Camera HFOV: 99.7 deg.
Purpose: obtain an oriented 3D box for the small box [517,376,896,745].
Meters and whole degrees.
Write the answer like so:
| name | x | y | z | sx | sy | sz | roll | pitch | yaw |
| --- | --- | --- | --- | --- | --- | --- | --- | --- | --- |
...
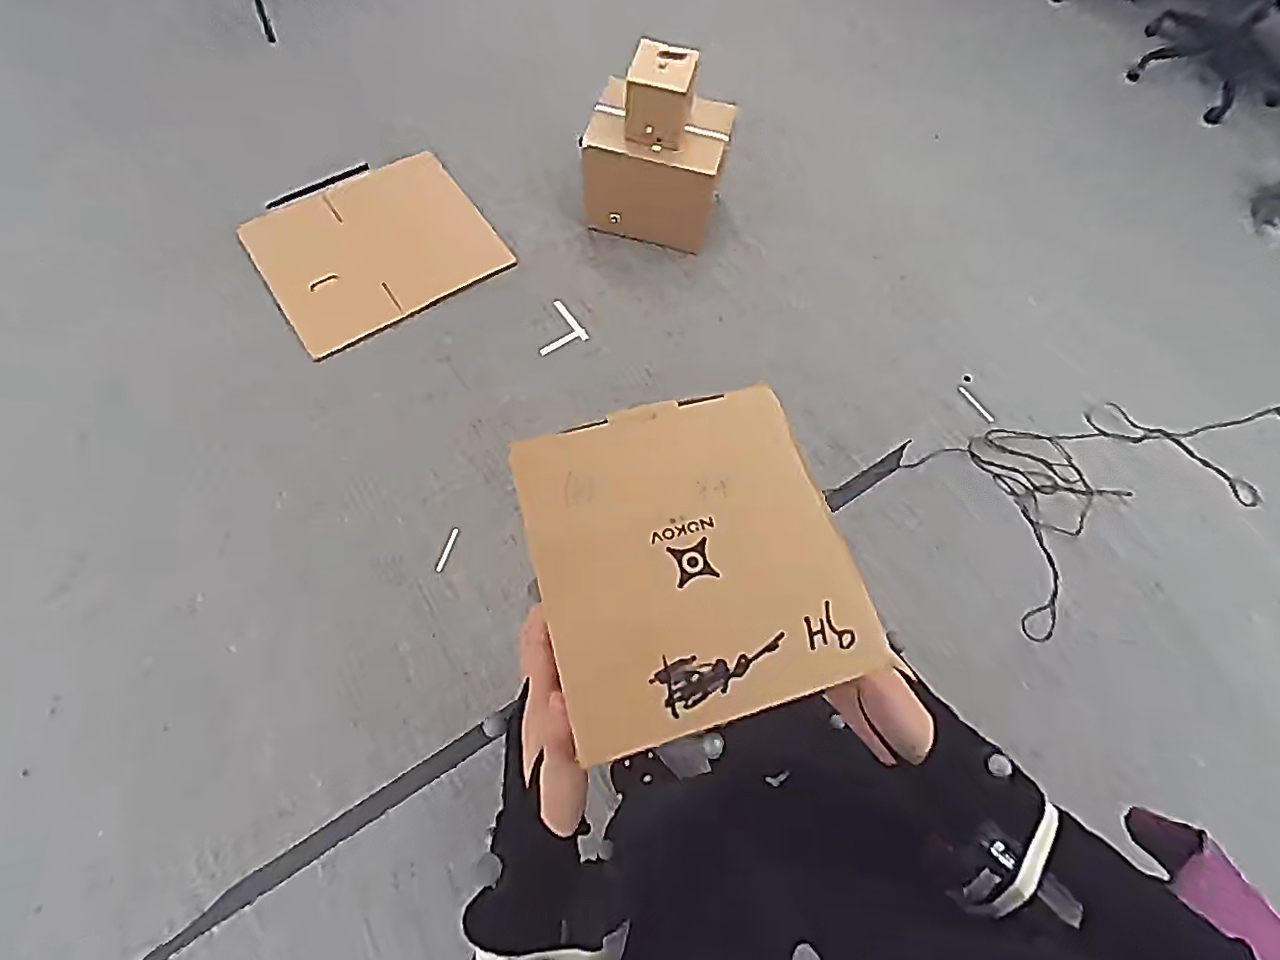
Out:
| name | x | y | z | sx | sy | sz | roll | pitch | yaw |
| --- | --- | --- | --- | --- | --- | --- | --- | --- | --- |
| small box | 0.026 | 0.062 | 0.364 | 0.168 | 0.176 | 0.179 | -15 | 68 | -8 |

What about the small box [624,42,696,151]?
| name | x | y | z | sx | sy | sz | roll | pitch | yaw |
| --- | --- | --- | --- | --- | --- | --- | --- | --- | --- |
| small box | 0.050 | -1.076 | 1.523 | 0.168 | 0.176 | 0.179 | 14 | 70 | 3 |
